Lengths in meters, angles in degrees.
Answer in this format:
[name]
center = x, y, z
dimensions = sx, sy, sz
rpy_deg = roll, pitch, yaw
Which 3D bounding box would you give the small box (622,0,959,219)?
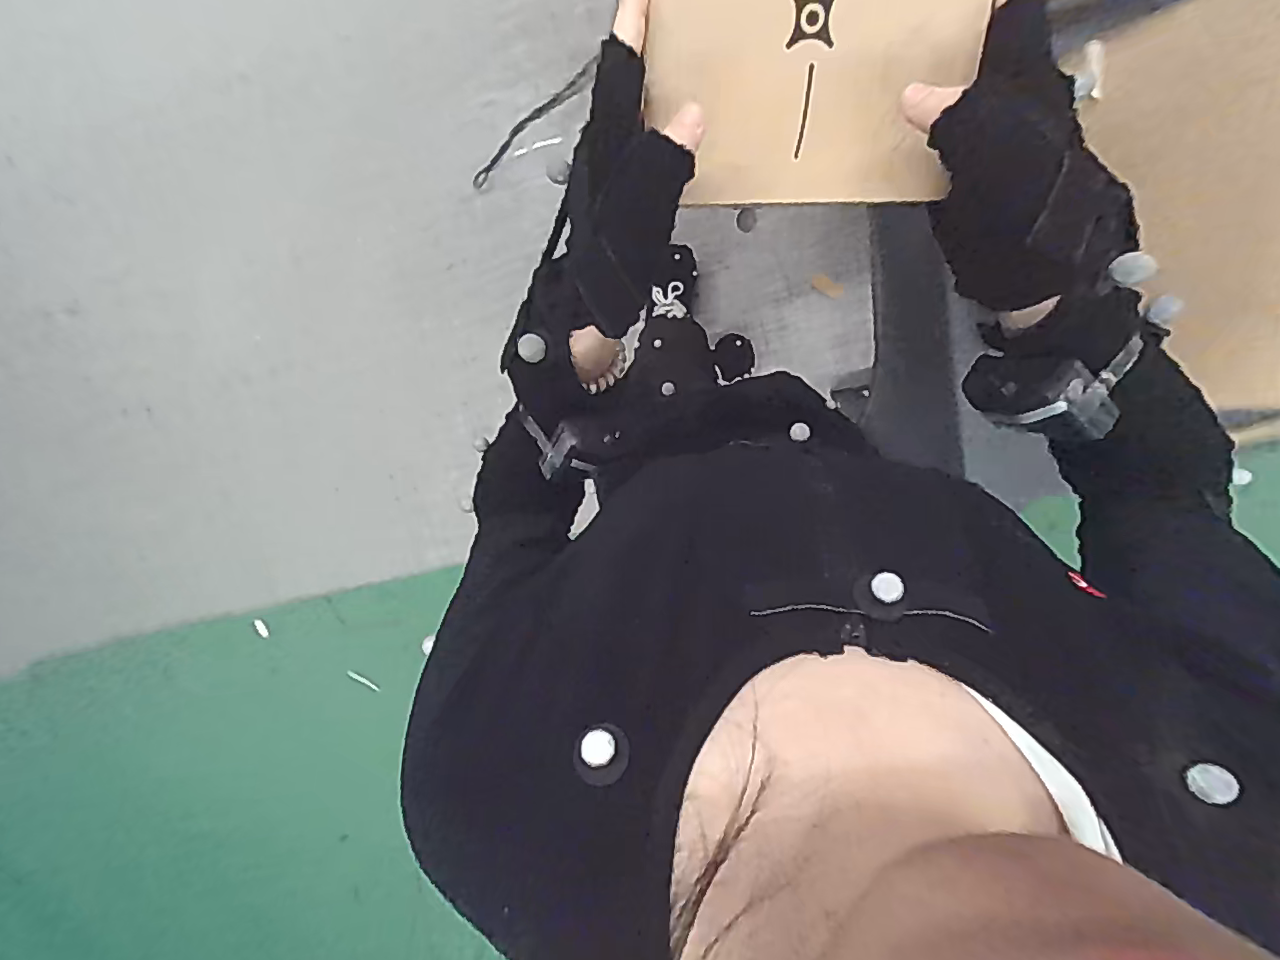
[small box]
center = 0.072, -0.263, 0.337
dimensions = 0.168, 0.176, 0.179
rpy_deg = -2, 116, 0
